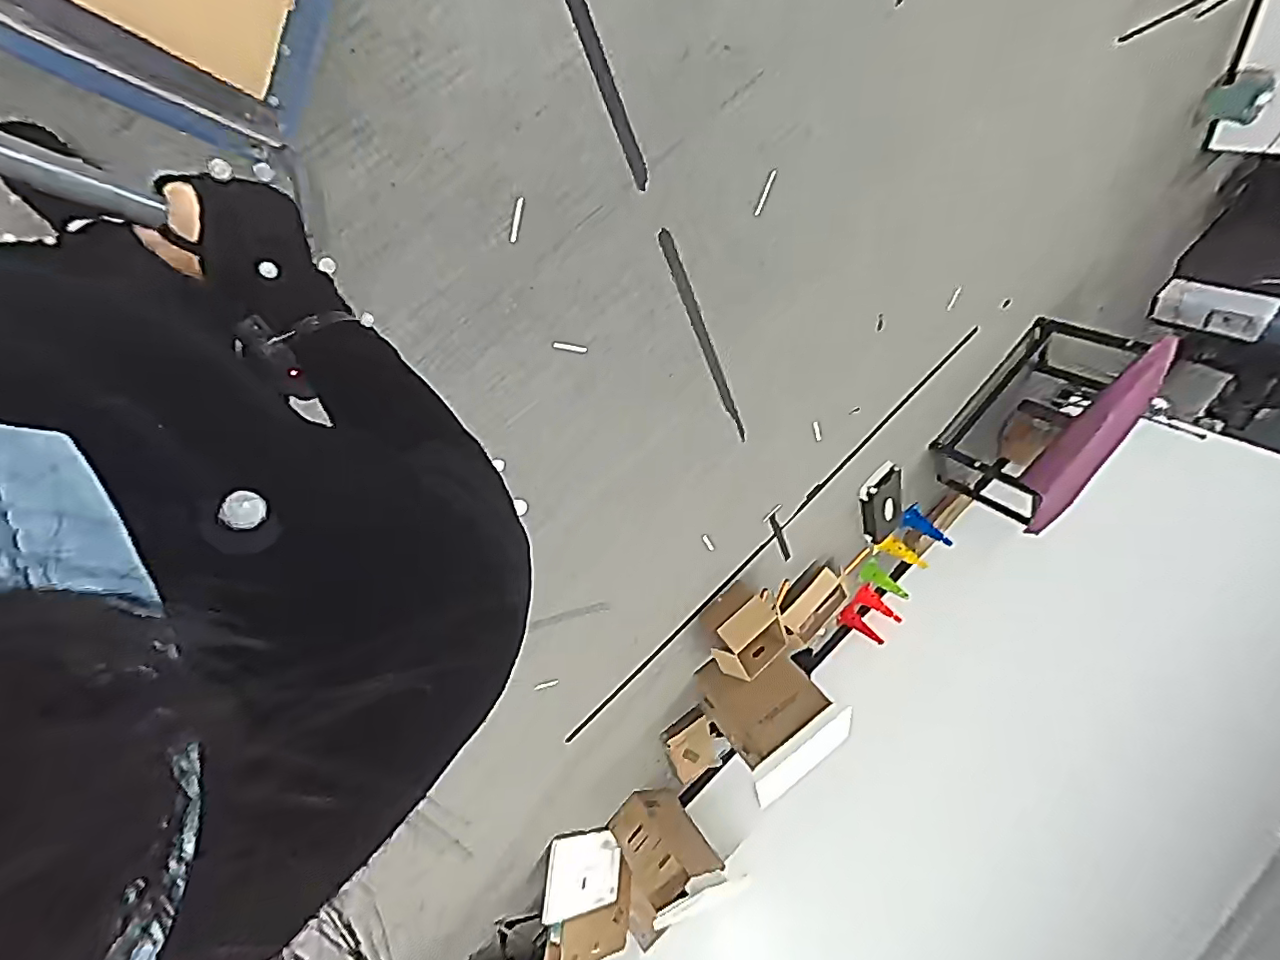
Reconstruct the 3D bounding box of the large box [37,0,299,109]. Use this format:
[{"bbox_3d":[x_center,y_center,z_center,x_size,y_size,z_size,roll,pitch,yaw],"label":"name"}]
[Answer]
[{"bbox_3d":[-0.629,-0.695,0.602,0.408,0.320,0.320,10,113,-46],"label":"large box"}]
